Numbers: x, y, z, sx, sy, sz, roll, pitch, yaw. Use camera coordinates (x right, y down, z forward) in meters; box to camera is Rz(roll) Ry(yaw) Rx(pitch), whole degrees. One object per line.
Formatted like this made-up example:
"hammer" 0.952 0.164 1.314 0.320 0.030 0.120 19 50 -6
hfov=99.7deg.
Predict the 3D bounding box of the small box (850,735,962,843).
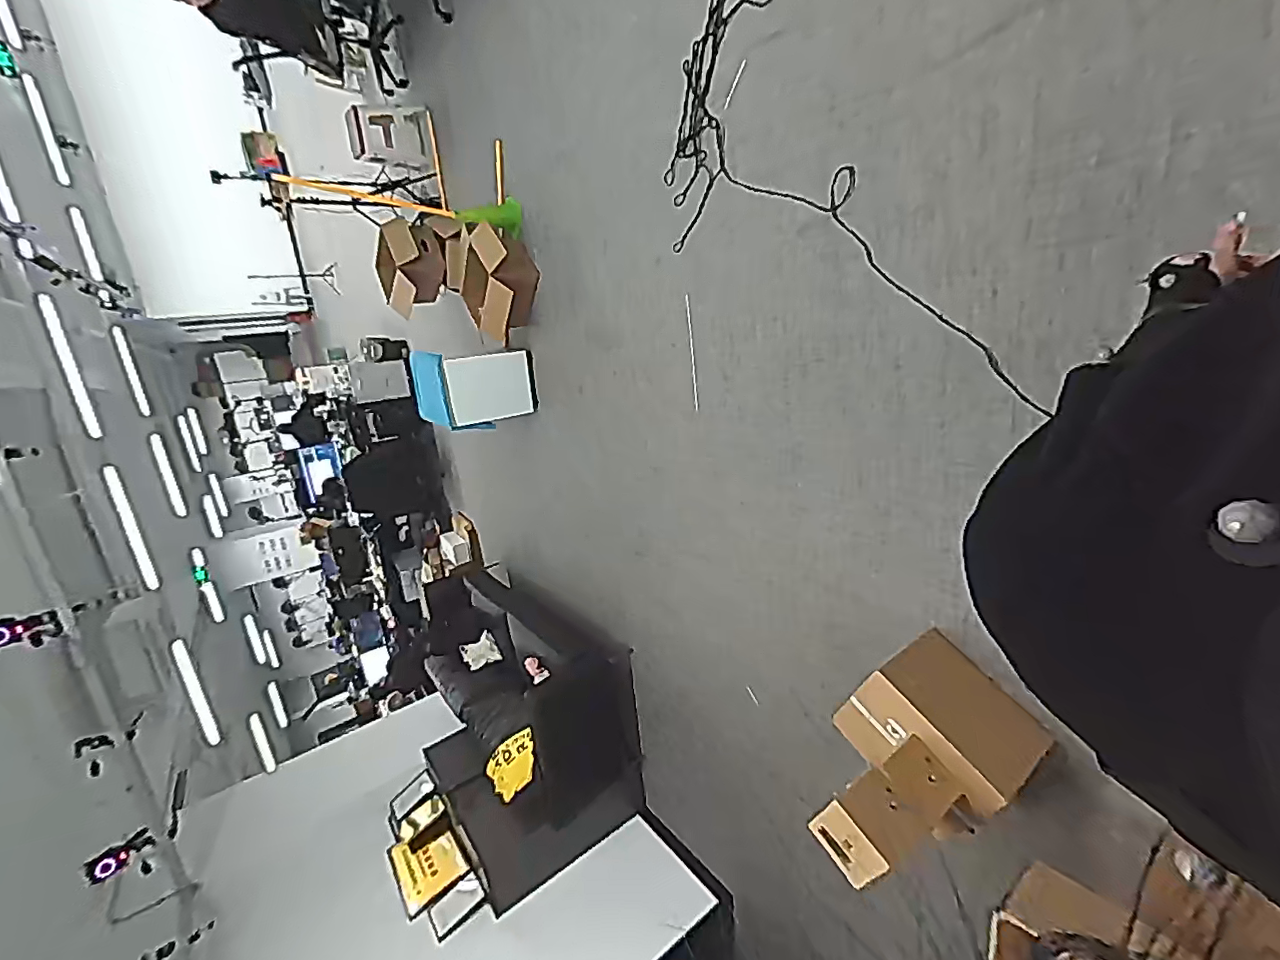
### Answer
"small box" 0.703 0.813 1.430 0.168 0.176 0.179 51 141 30
